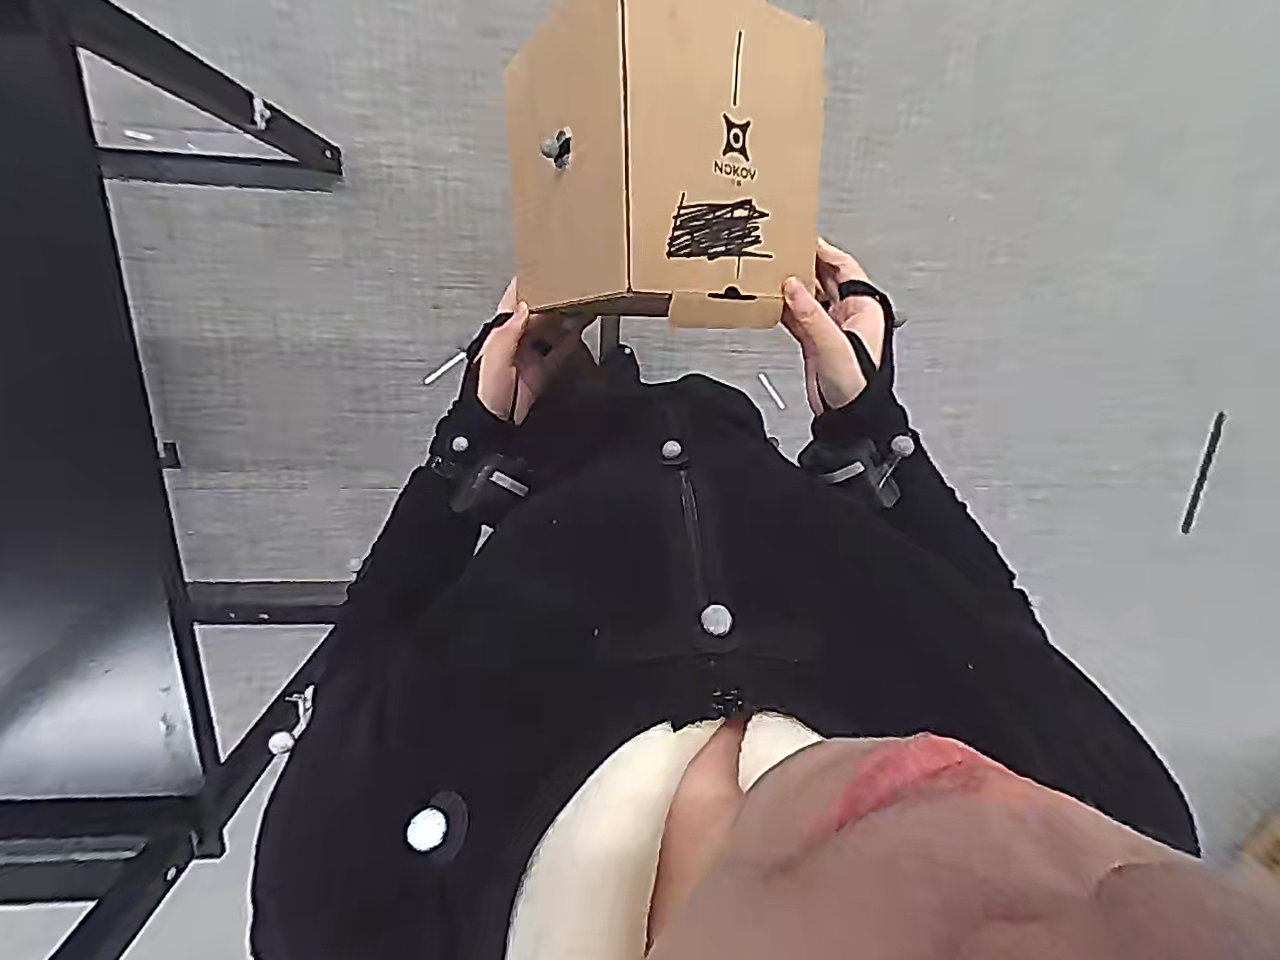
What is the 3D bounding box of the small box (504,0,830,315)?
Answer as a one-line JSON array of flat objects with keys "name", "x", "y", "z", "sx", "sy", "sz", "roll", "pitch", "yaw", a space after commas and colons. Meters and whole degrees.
[{"name": "small box", "x": 0.012, "y": -0.217, "z": 0.393, "sx": 0.168, "sy": 0.176, "sz": 0.179, "roll": -10, "pitch": 105, "yaw": -34}]
